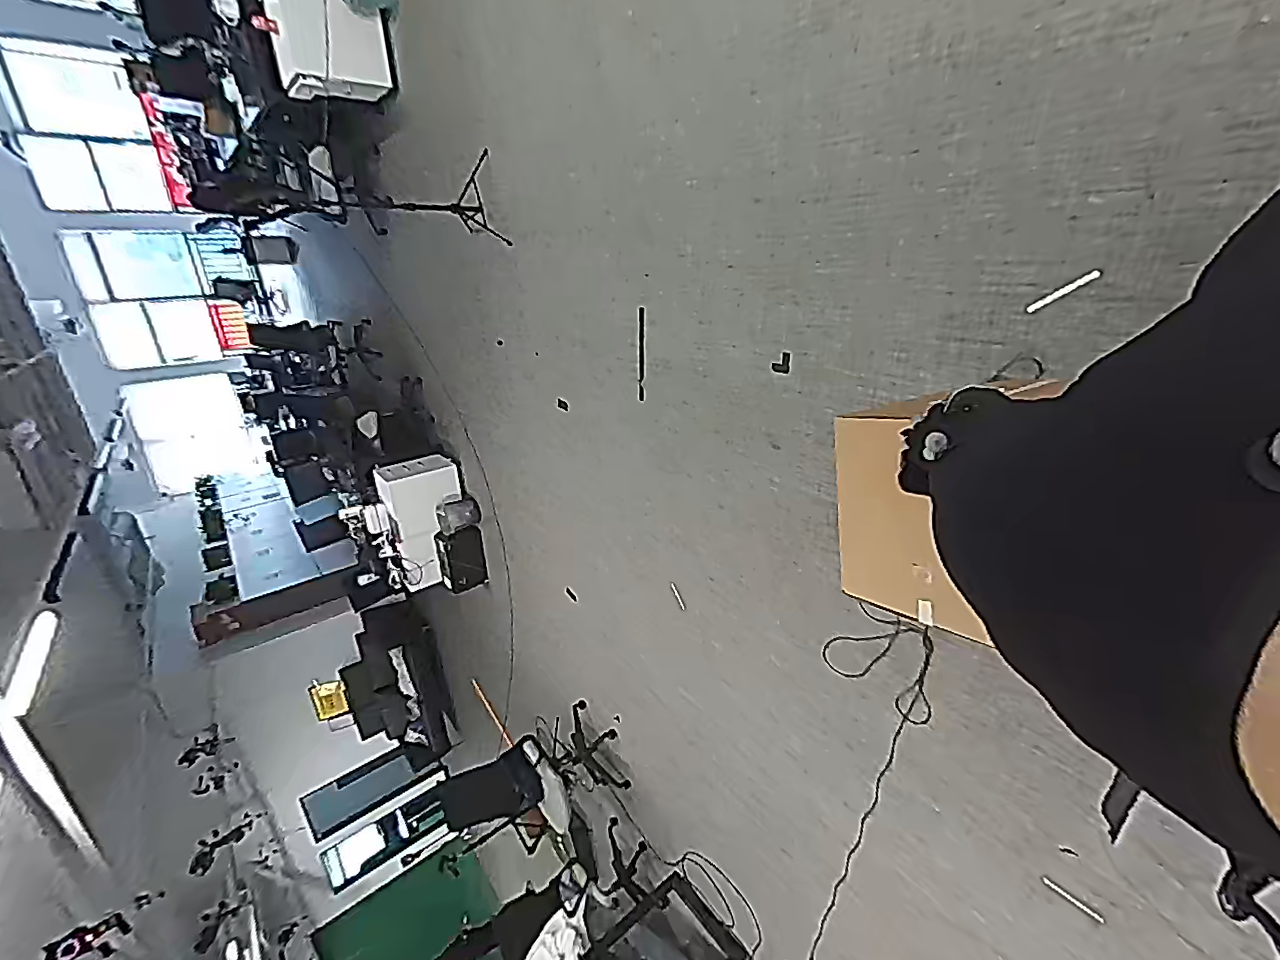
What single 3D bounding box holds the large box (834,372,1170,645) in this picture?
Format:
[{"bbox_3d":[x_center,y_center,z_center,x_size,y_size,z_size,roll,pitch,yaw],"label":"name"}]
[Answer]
[{"bbox_3d":[0.576,0.008,0.880,0.320,0.408,0.320,13,114,59],"label":"large box"}]
